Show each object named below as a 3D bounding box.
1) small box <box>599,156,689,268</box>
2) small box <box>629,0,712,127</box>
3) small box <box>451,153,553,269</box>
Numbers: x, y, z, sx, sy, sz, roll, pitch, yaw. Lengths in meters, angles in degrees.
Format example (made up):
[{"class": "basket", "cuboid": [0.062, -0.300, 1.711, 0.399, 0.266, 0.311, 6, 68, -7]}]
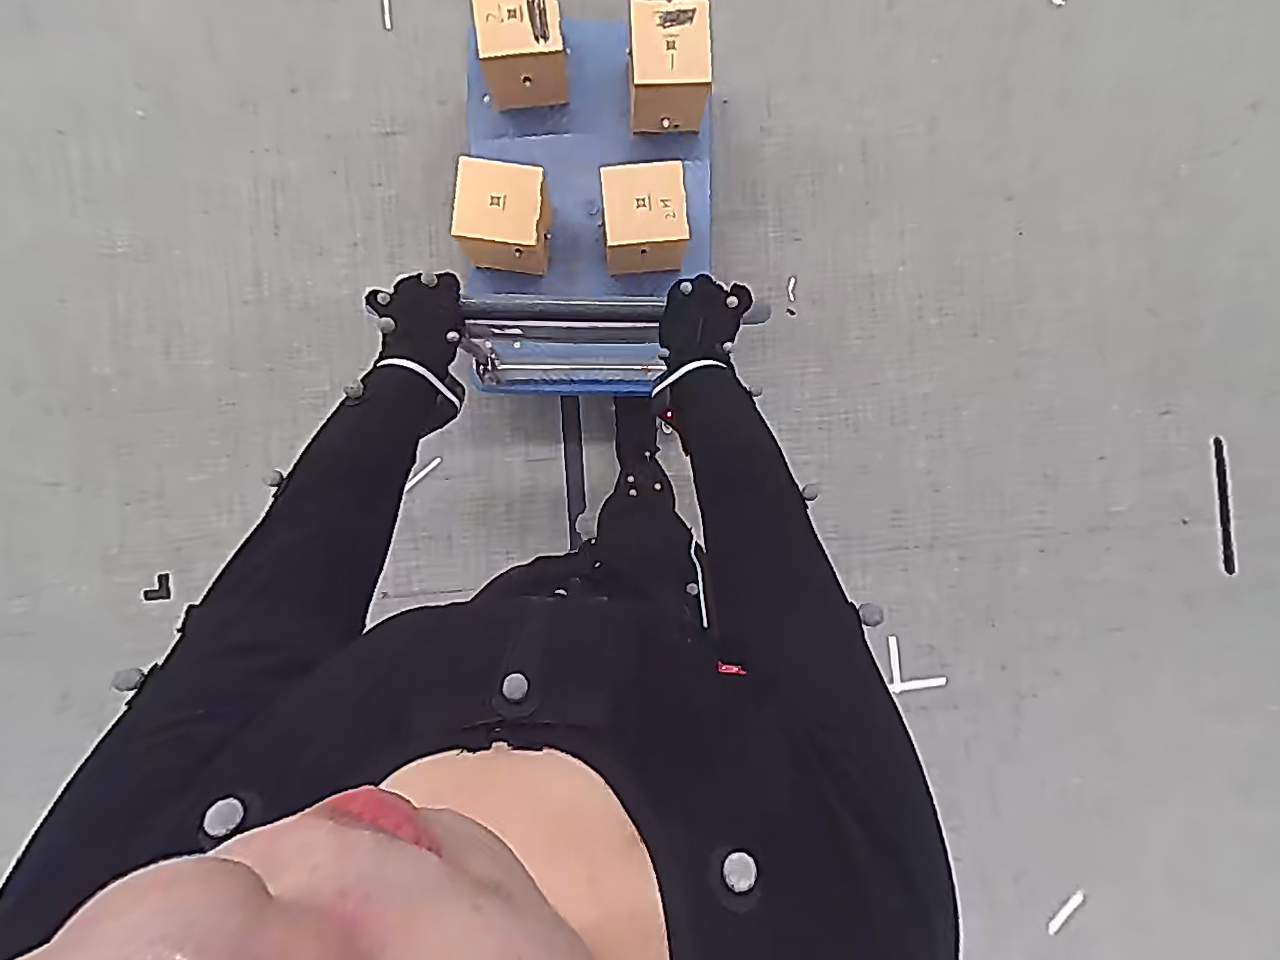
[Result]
[{"class": "small box", "cuboid": [0.008, -0.584, 1.198, 0.179, 0.176, 0.168, -6, 92, -2]}, {"class": "small box", "cuboid": [0.062, -0.919, 1.192, 0.168, 0.176, 0.179, -3, 93, -2]}, {"class": "small box", "cuboid": [-0.296, -0.581, 1.188, 0.179, 0.176, 0.168, 6, 91, -3]}]
